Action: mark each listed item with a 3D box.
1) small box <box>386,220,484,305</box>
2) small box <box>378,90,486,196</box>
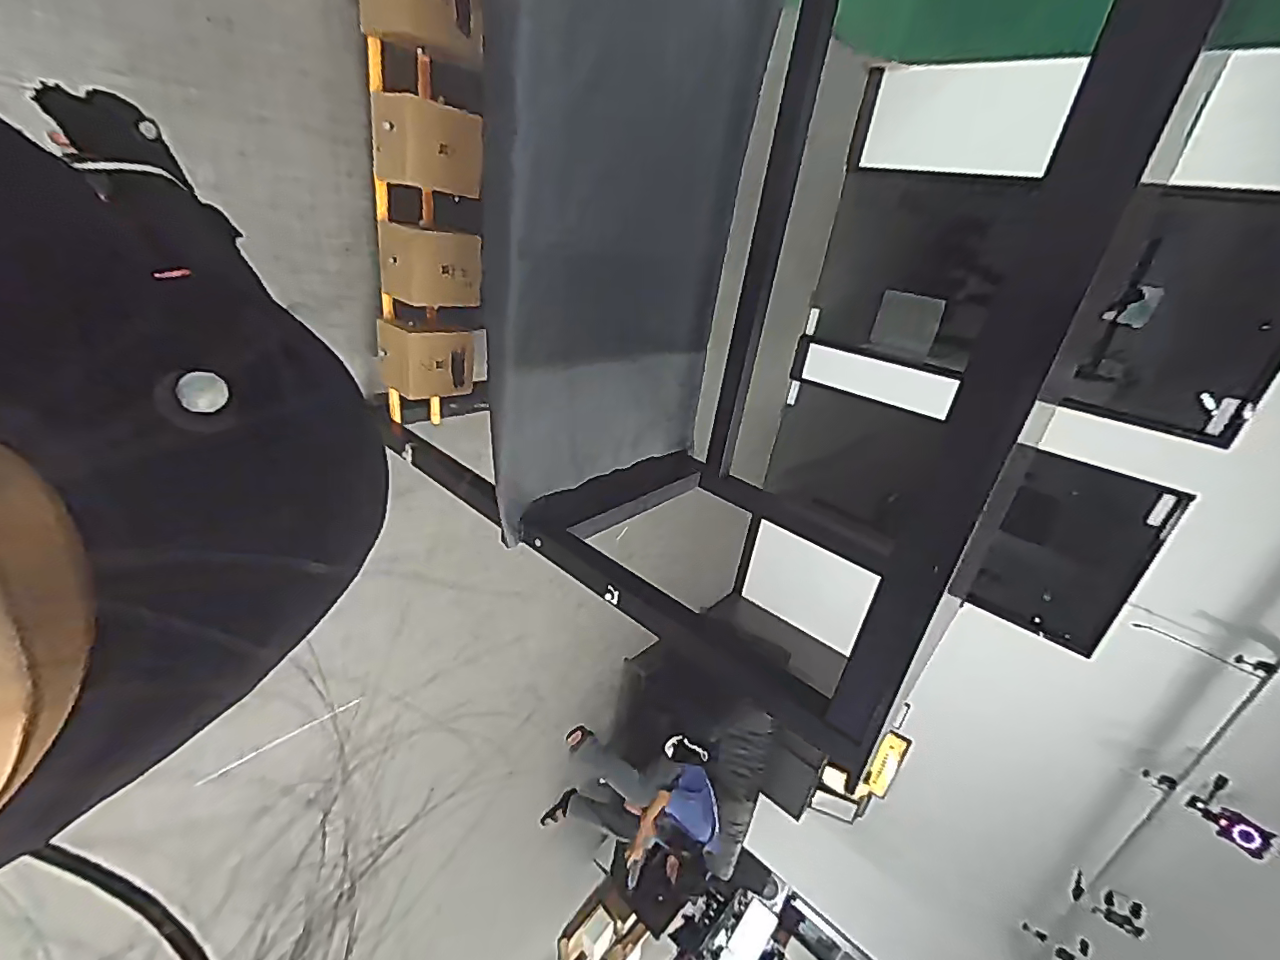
[{"bbox_3d":[-0.503,-0.528,1.316,0.179,0.176,0.168,-19,127,-45],"label":"small box"},{"bbox_3d":[-0.470,-0.748,1.209,0.179,0.176,0.168,-17,127,-46],"label":"small box"}]
